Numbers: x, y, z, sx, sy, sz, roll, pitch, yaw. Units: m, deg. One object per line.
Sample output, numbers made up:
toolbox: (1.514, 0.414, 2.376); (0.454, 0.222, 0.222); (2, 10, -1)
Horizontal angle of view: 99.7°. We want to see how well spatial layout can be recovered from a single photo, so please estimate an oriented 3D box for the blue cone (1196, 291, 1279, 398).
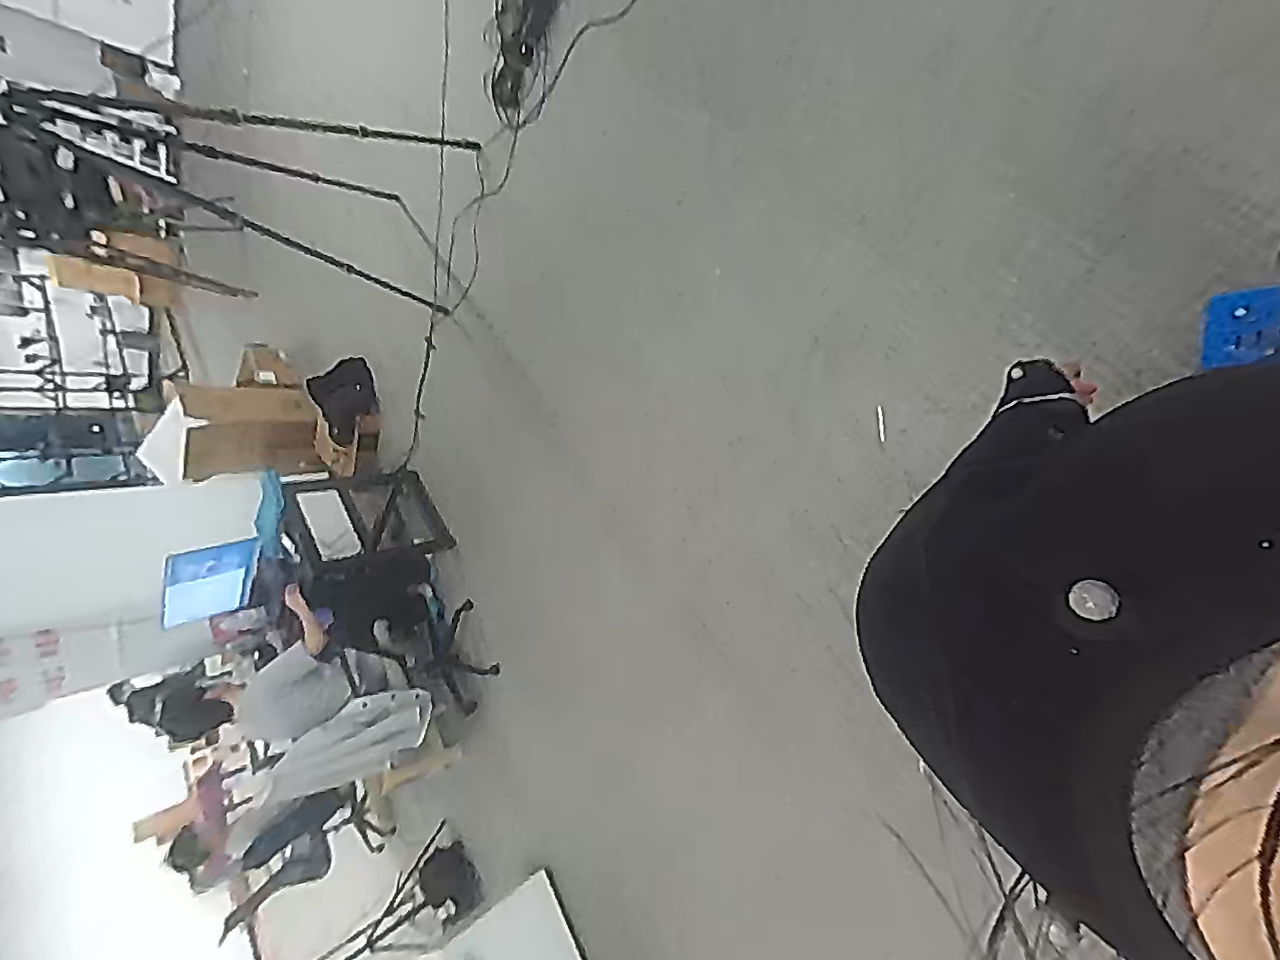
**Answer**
blue cone: (1.034, -0.230, 0.863); (0.193, 0.380, 0.192); (3, 99, 43)
